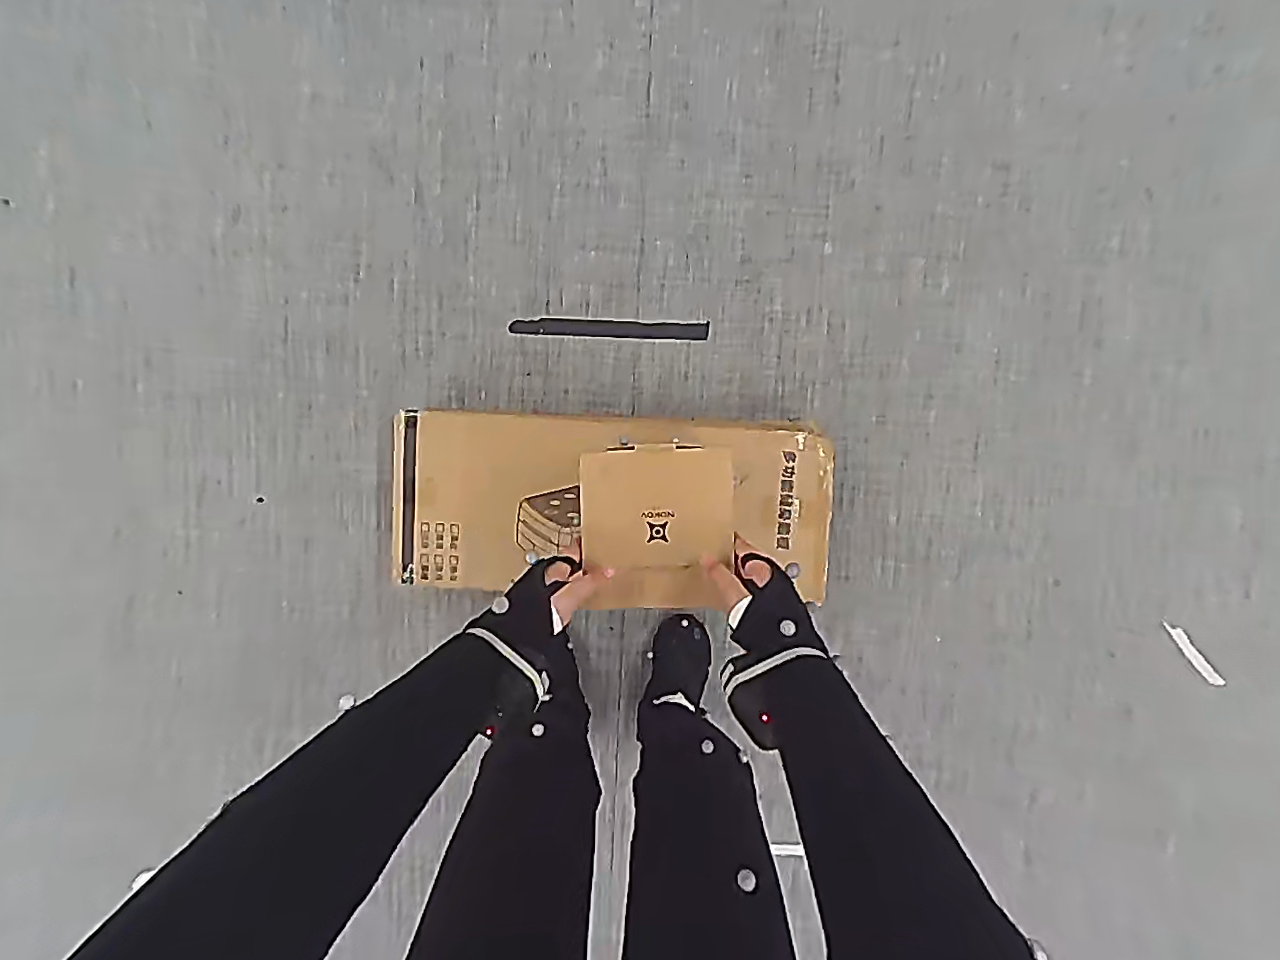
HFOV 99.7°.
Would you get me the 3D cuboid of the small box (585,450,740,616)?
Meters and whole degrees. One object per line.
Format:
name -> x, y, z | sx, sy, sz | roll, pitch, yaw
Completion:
small box -> 0.025, 0.055, 0.658 | 0.168, 0.176, 0.179 | -2, 93, 2
